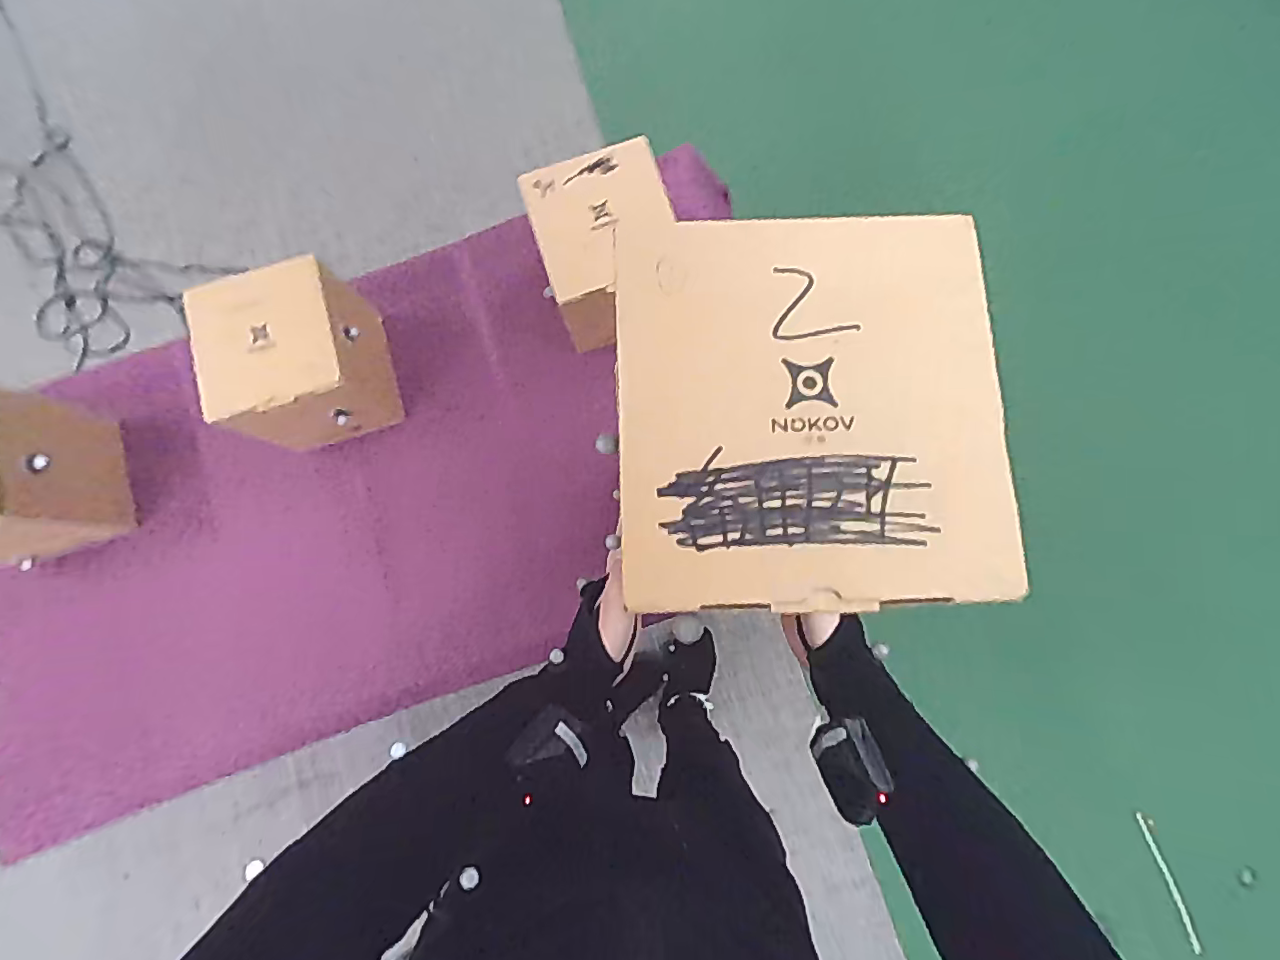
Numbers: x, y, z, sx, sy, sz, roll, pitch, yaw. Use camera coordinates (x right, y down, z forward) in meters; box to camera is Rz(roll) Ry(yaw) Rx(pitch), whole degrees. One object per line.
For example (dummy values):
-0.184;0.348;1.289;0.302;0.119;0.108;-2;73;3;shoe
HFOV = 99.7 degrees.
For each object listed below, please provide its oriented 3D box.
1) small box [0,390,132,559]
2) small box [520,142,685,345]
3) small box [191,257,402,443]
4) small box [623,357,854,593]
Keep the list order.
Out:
-0.826;0.001;0.710;0.168;0.176;0.179;-19;80;-2;small box
-0.043;-0.300;0.731;0.168;0.176;0.179;-18;83;-1;small box
-0.444;-0.158;0.726;0.168;0.176;0.179;-16;80;-1;small box
0.068;0.006;0.477;0.168;0.176;0.179;-2;81;-1;small box
